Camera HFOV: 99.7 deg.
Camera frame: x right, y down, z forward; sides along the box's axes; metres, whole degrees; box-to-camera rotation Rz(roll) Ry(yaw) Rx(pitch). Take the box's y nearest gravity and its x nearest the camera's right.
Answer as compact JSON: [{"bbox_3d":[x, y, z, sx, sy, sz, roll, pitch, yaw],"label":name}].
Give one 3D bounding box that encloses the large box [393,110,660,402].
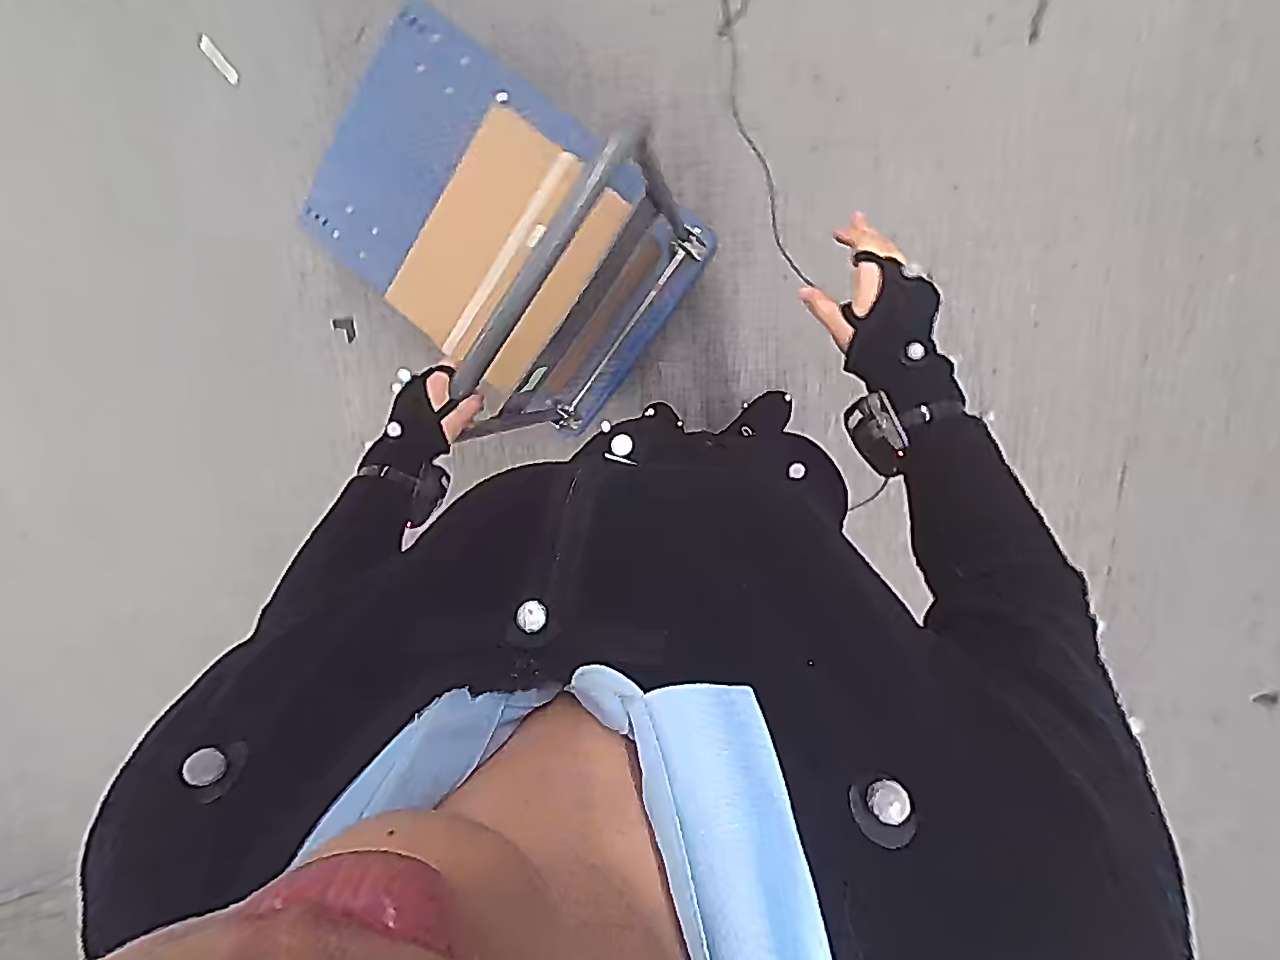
[{"bbox_3d":[-0.210,-0.417,1.111,0.320,0.320,0.408,39,105,-2],"label":"large box"}]
